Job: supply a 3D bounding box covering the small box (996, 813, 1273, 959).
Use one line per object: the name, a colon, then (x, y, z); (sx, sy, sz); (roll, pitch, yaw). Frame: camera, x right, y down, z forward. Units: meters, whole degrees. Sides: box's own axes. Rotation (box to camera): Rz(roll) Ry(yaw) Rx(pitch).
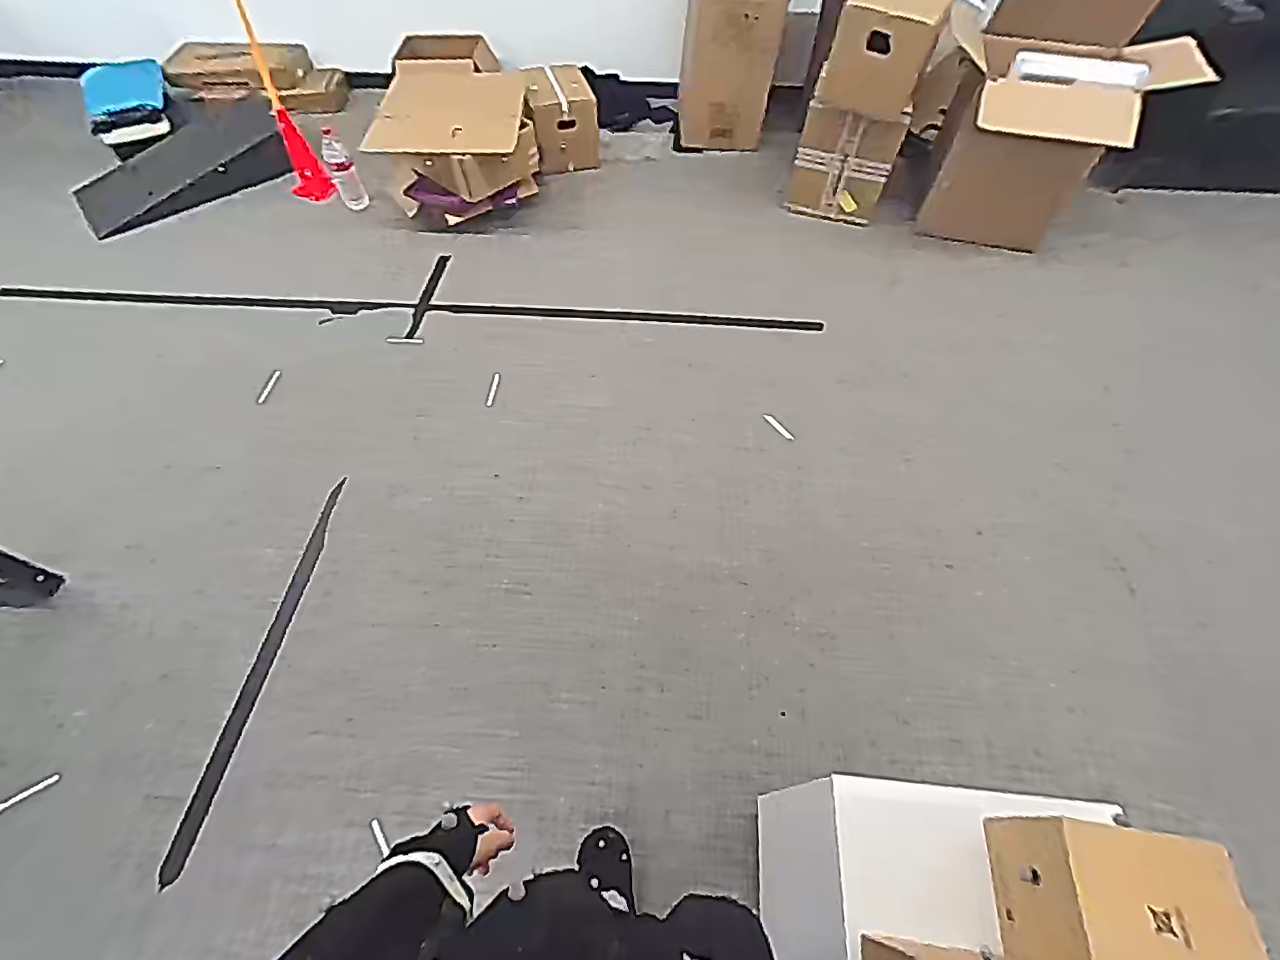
small box: (0.540, 0.492, 0.615); (0.179, 0.176, 0.168); (7, 57, 4)
